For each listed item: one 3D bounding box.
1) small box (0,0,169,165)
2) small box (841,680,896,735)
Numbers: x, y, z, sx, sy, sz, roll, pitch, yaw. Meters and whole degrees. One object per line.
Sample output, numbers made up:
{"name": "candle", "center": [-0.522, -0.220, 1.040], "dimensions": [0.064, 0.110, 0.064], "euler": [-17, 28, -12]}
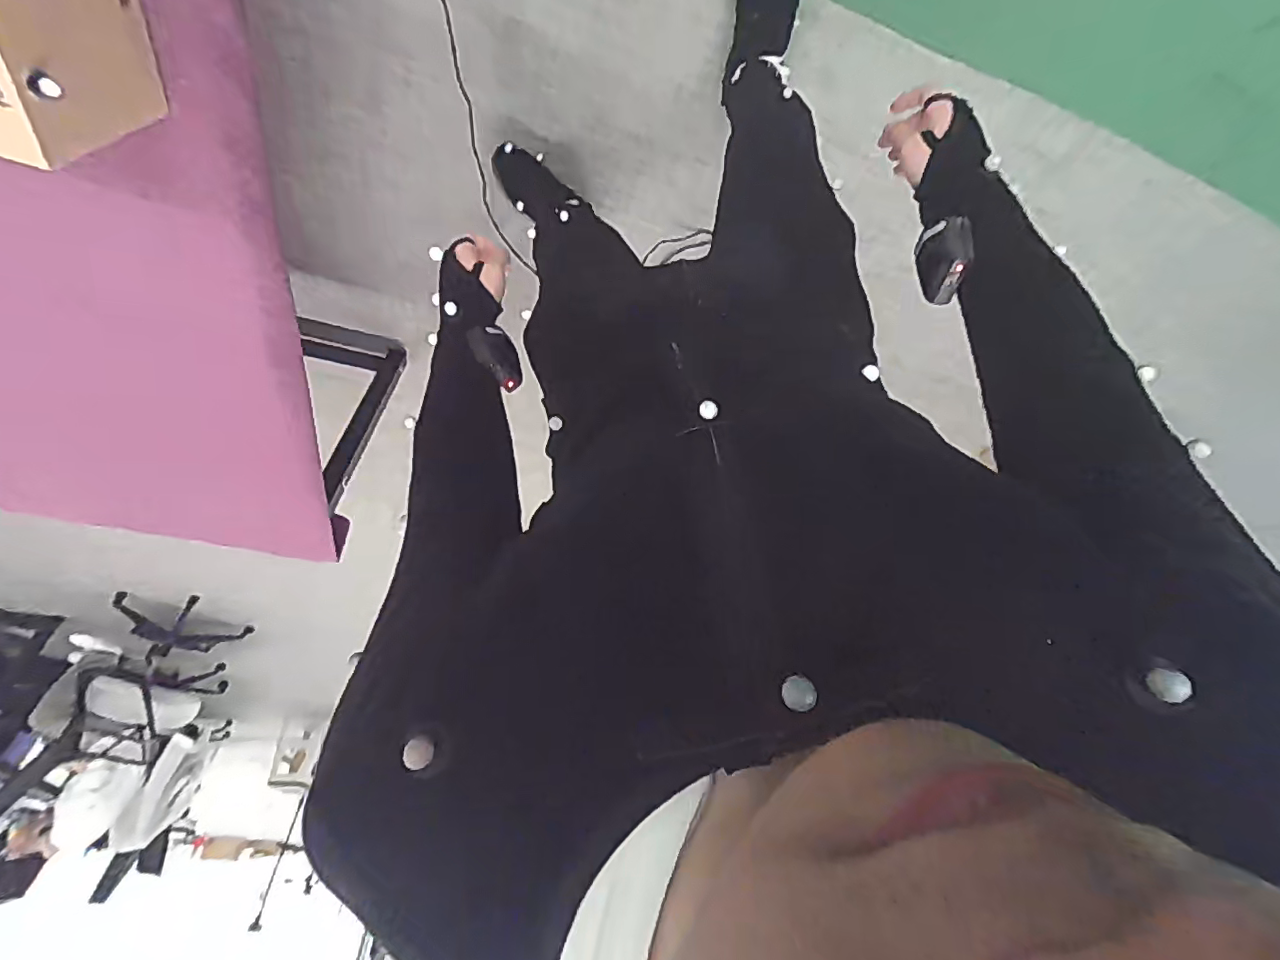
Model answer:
{"name": "small box", "center": [-0.559, -0.406, 0.451], "dimensions": [0.179, 0.176, 0.168], "euler": [17, 138, -13]}
{"name": "small box", "center": [0.974, 0.966, 2.309], "dimensions": [0.168, 0.176, 0.179], "euler": [-18, 135, 20]}
